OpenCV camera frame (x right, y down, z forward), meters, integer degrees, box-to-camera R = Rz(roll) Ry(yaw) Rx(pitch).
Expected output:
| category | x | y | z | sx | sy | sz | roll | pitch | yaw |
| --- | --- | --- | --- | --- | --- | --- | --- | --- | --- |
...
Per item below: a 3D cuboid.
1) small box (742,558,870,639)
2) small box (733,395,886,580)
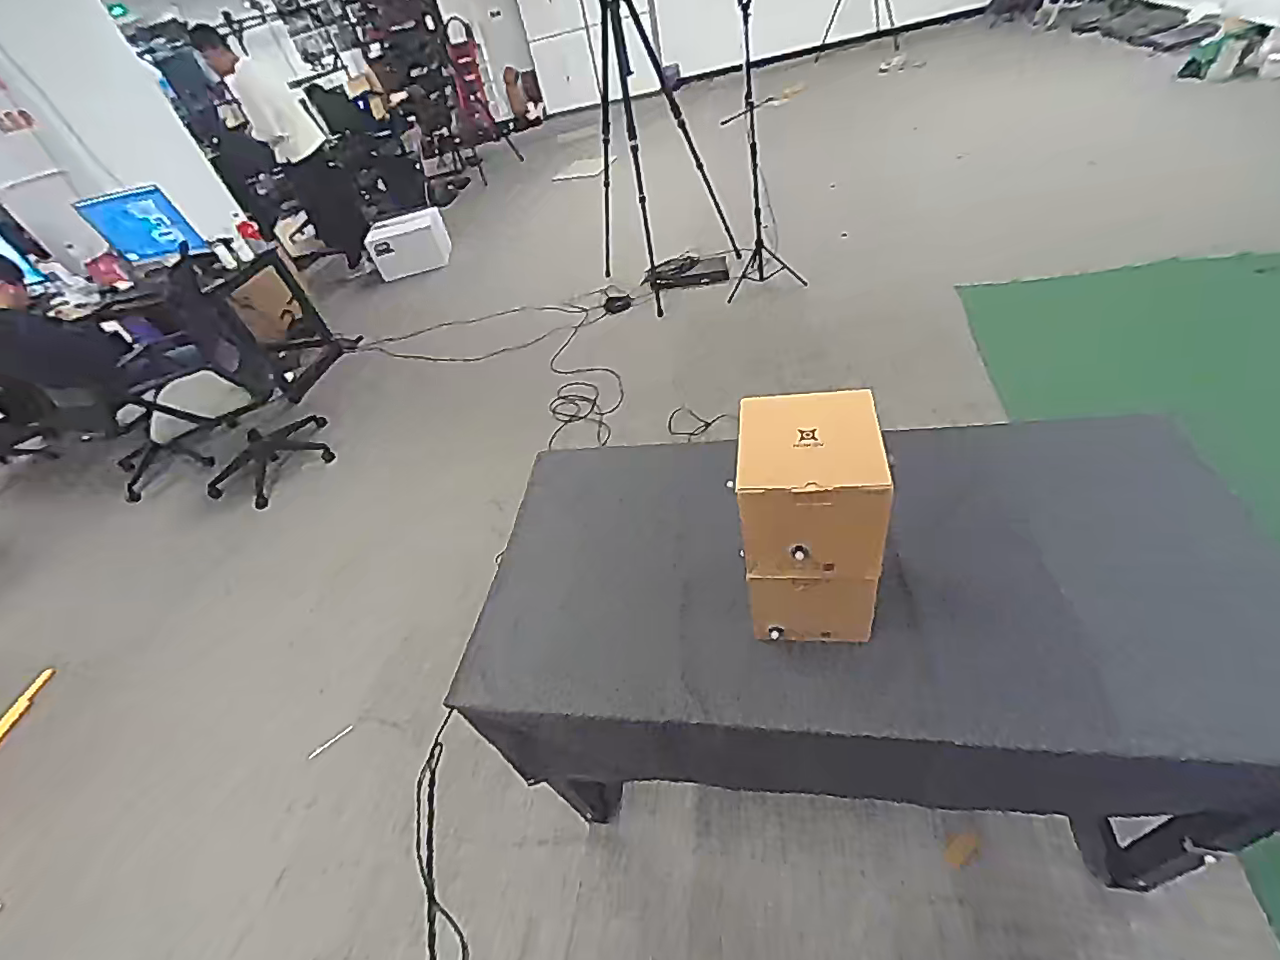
| category | x | y | z | sx | sy | sz | roll | pitch | yaw |
| --- | --- | --- | --- | --- | --- | --- | --- | --- | --- |
| small box | 0.247 | 0.125 | 0.820 | 0.168 | 0.176 | 0.179 | -3 | 43 | 14 |
| small box | 0.214 | 0.010 | 0.709 | 0.168 | 0.176 | 0.179 | -3 | 45 | 15 |
